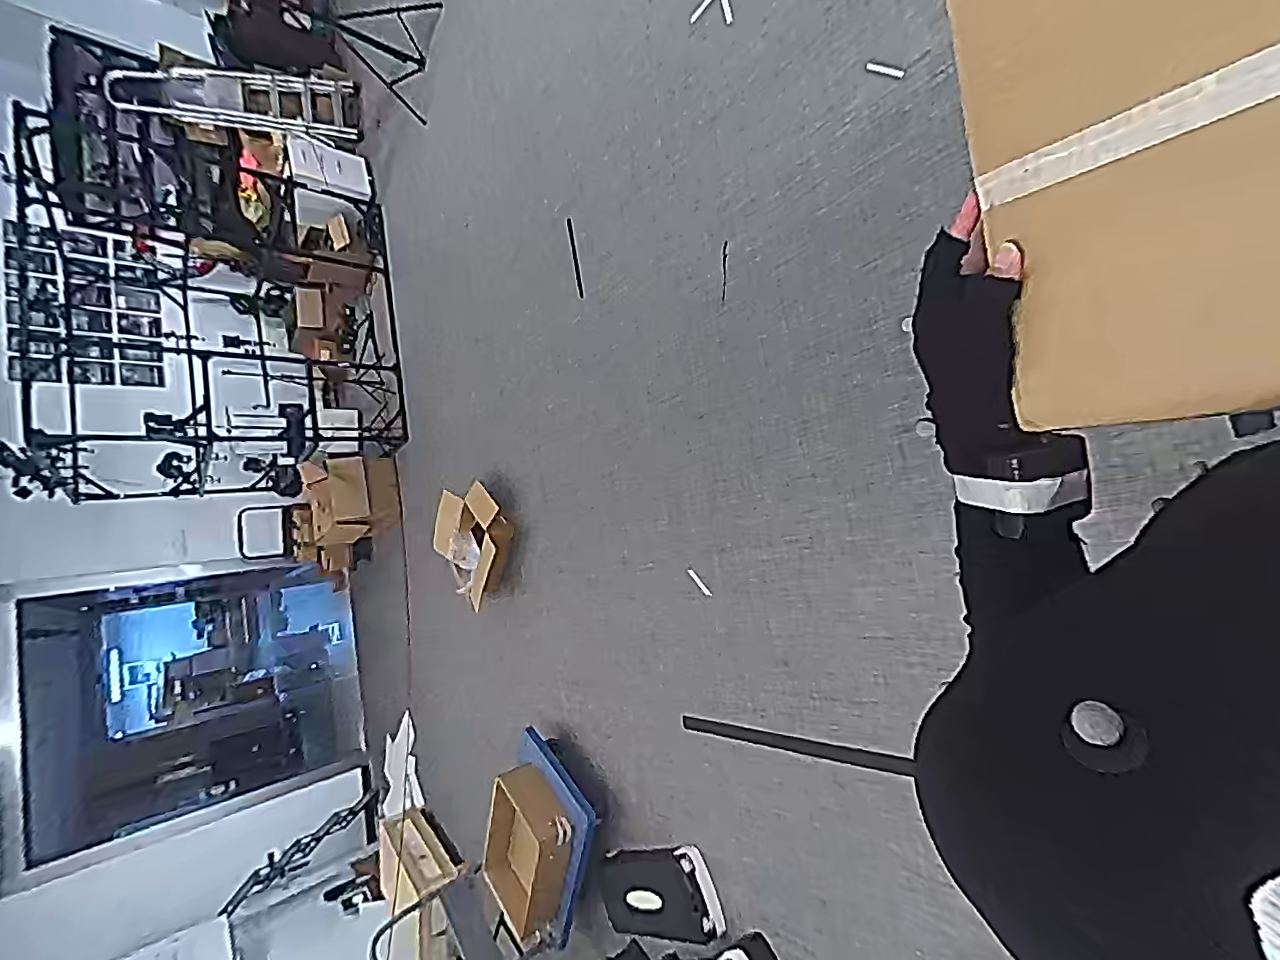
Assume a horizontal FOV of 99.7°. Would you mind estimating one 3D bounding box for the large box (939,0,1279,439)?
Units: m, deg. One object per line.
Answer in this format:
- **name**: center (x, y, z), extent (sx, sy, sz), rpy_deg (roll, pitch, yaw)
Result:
- **large box**: center (0.454, -0.228, 0.282), extent (0.408, 0.320, 0.320), rpy_deg (-4, 102, 53)
